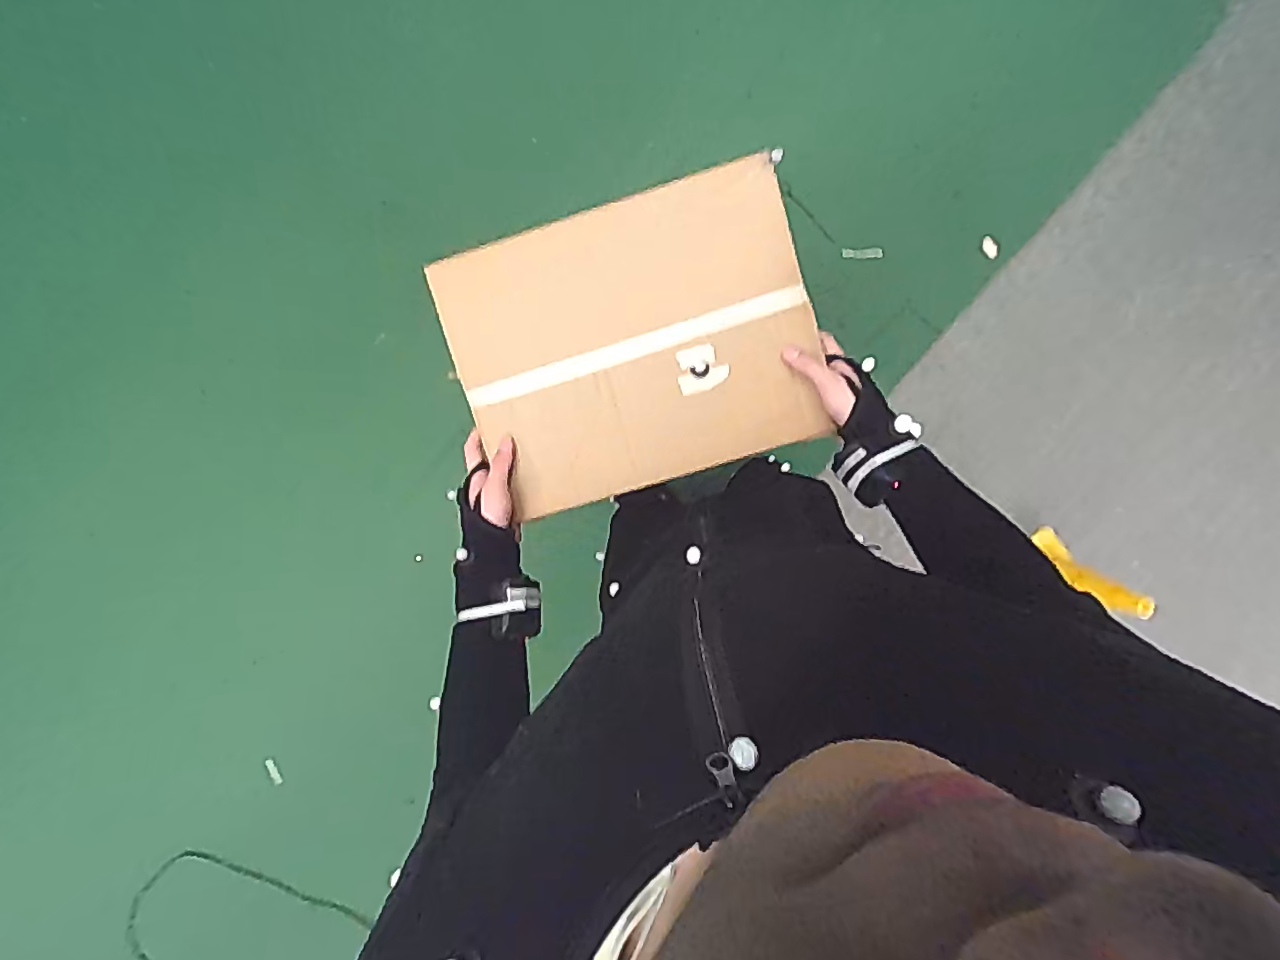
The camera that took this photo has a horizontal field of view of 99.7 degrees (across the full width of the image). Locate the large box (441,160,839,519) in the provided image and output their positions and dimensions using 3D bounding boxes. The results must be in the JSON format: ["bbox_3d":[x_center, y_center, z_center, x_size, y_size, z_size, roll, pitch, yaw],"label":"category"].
[{"bbox_3d":[0.004,-0.169,0.772,0.408,0.320,0.320,-16,97,4],"label":"large box"}]
